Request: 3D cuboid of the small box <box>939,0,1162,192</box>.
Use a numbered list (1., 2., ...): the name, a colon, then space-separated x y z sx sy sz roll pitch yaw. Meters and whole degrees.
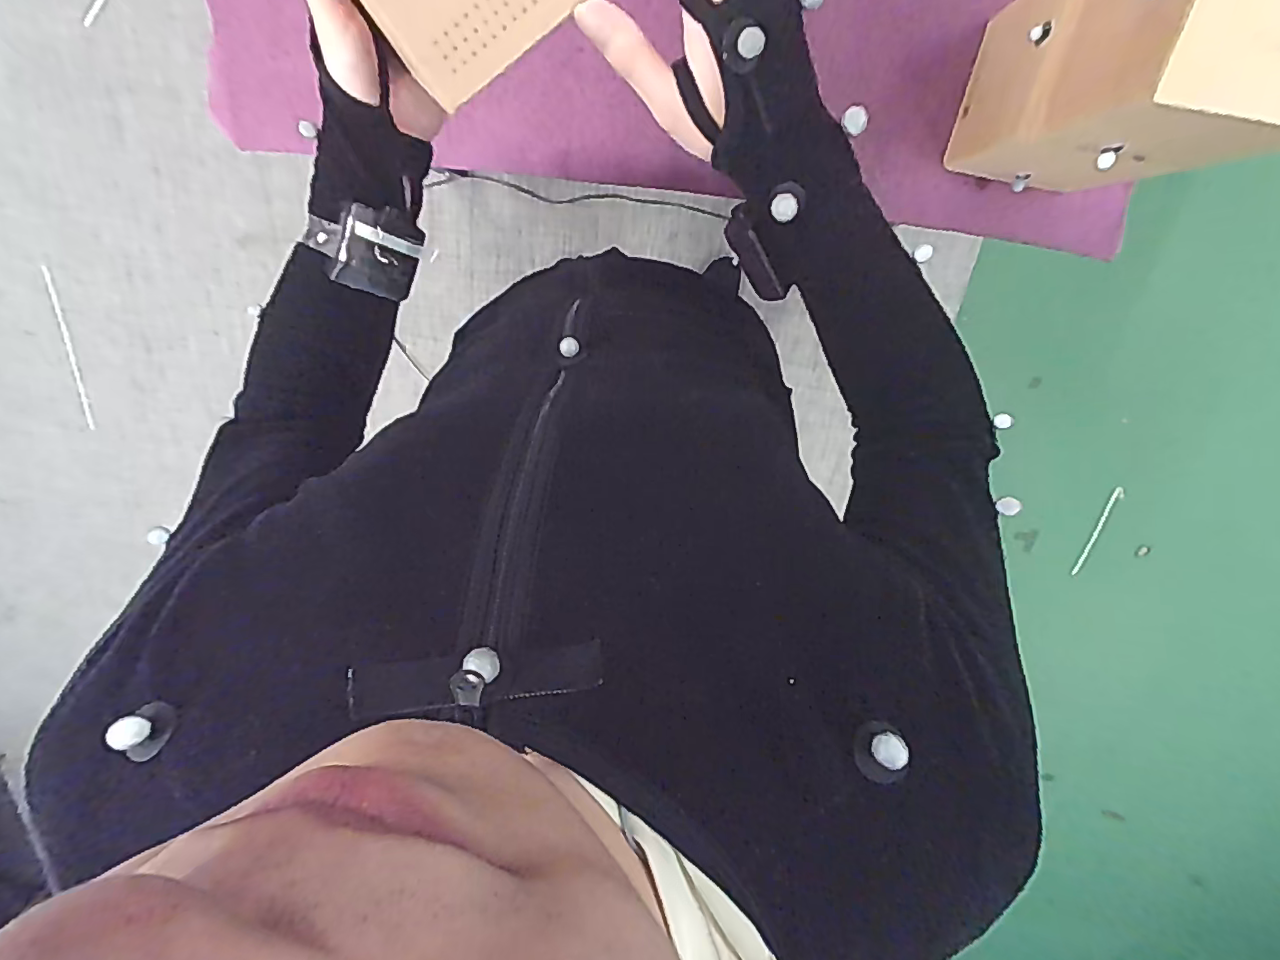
1. small box: 0.492 -0.443 0.621 0.179 0.176 0.168 10 111 -2
